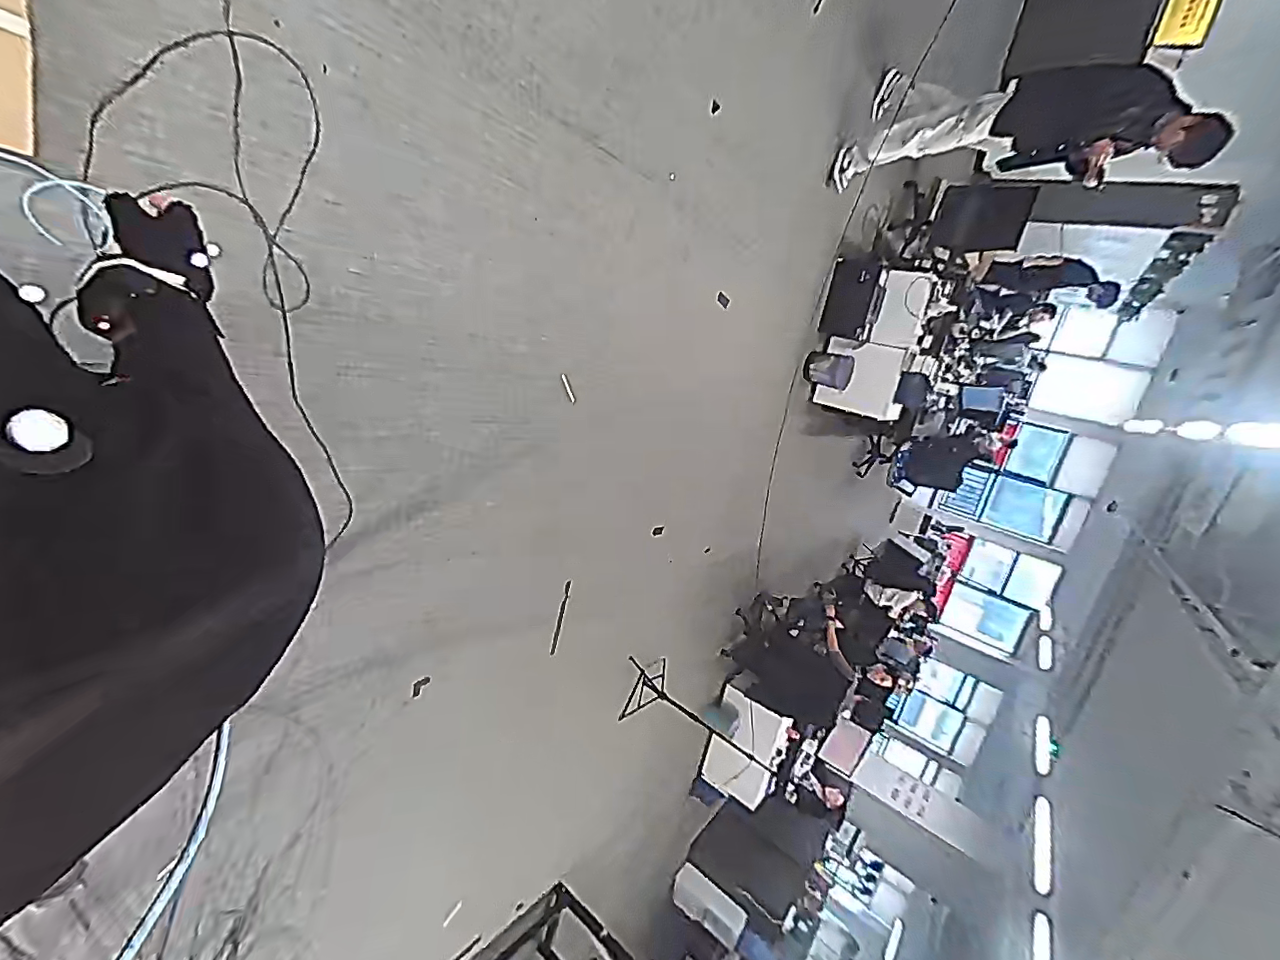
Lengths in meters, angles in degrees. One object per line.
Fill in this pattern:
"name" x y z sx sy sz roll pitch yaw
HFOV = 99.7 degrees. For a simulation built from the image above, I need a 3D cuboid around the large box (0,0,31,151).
"large box" -1.052 -0.633 0.637 0.408 0.320 0.320 -6 114 -54
